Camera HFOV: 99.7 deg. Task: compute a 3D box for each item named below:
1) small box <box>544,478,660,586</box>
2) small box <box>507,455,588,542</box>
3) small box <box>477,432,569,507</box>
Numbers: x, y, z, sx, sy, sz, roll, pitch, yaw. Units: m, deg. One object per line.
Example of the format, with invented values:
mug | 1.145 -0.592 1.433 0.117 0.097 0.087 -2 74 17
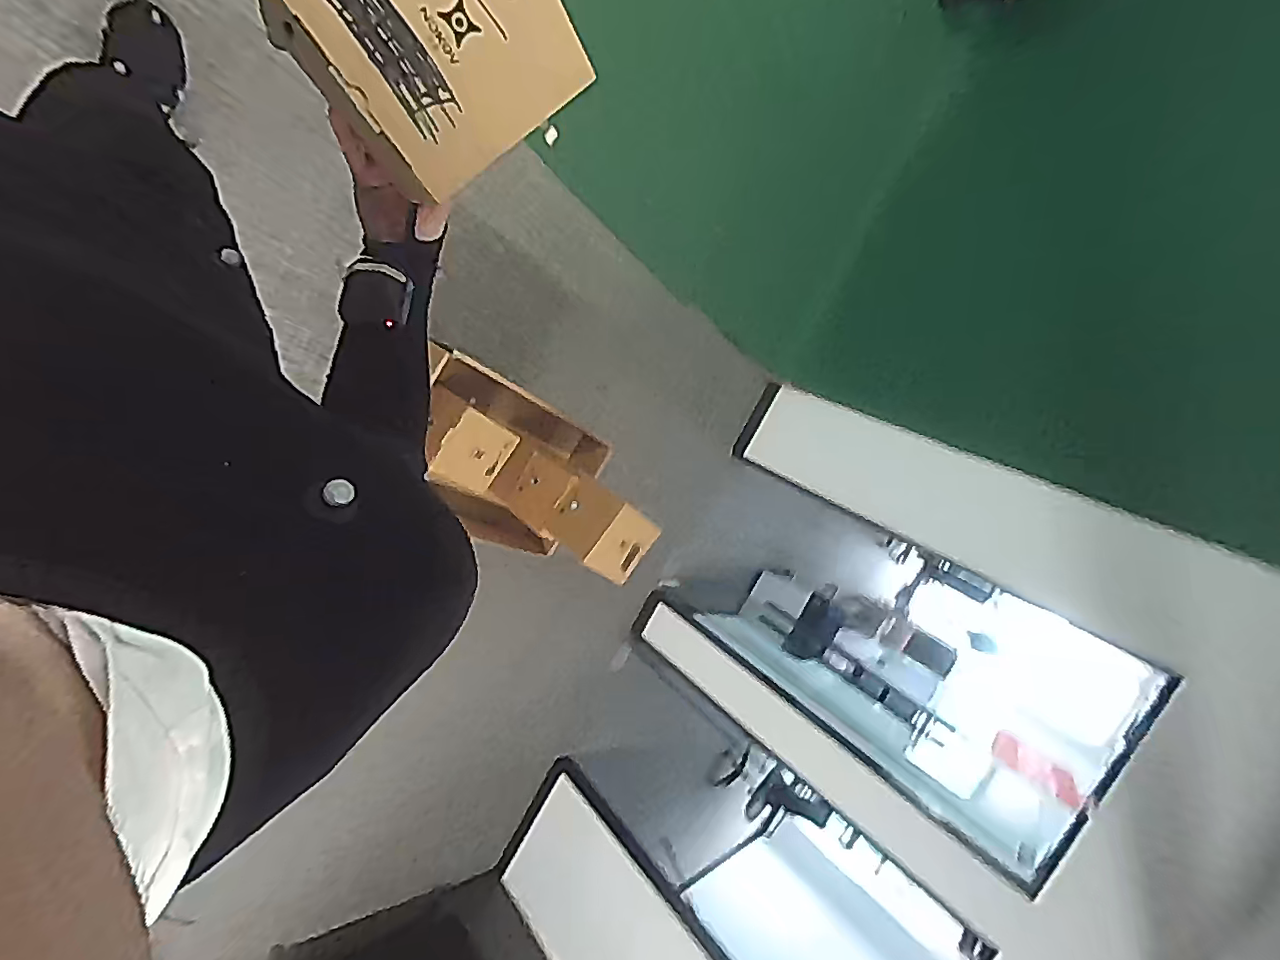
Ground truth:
small box | -0.090 0.120 1.286 0.168 0.176 0.179 -54 140 -5
small box | -0.203 0.054 1.385 0.179 0.176 0.168 27 94 -50
small box | -0.309 -0.012 1.489 0.179 0.176 0.168 28 92 -51
